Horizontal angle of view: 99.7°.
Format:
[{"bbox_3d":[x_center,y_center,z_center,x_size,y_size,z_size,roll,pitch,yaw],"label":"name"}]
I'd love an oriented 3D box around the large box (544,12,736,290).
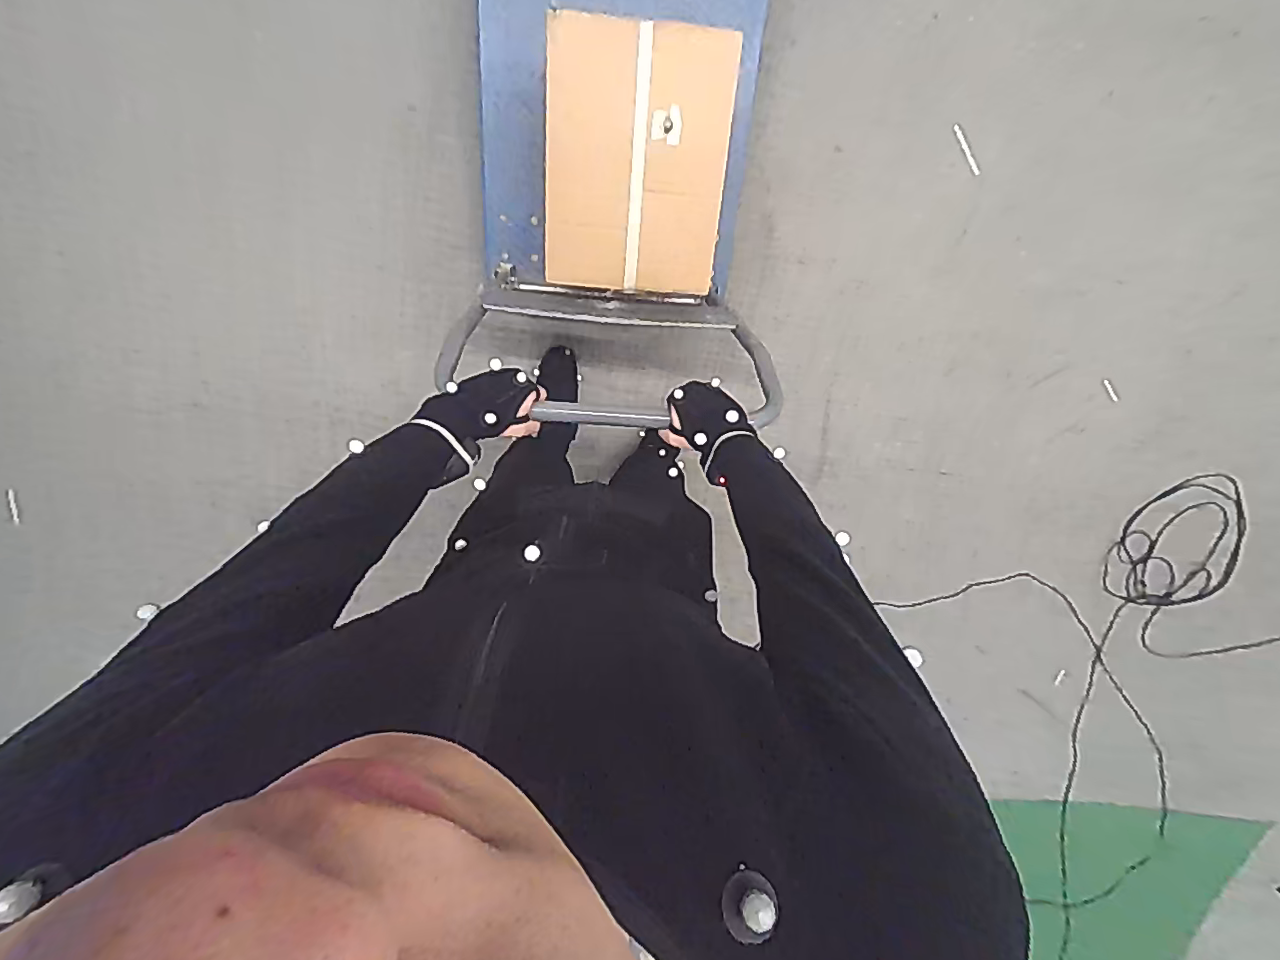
[{"bbox_3d":[-0.018,-0.610,1.070,0.320,0.320,0.408,2,117,-6],"label":"large box"}]
